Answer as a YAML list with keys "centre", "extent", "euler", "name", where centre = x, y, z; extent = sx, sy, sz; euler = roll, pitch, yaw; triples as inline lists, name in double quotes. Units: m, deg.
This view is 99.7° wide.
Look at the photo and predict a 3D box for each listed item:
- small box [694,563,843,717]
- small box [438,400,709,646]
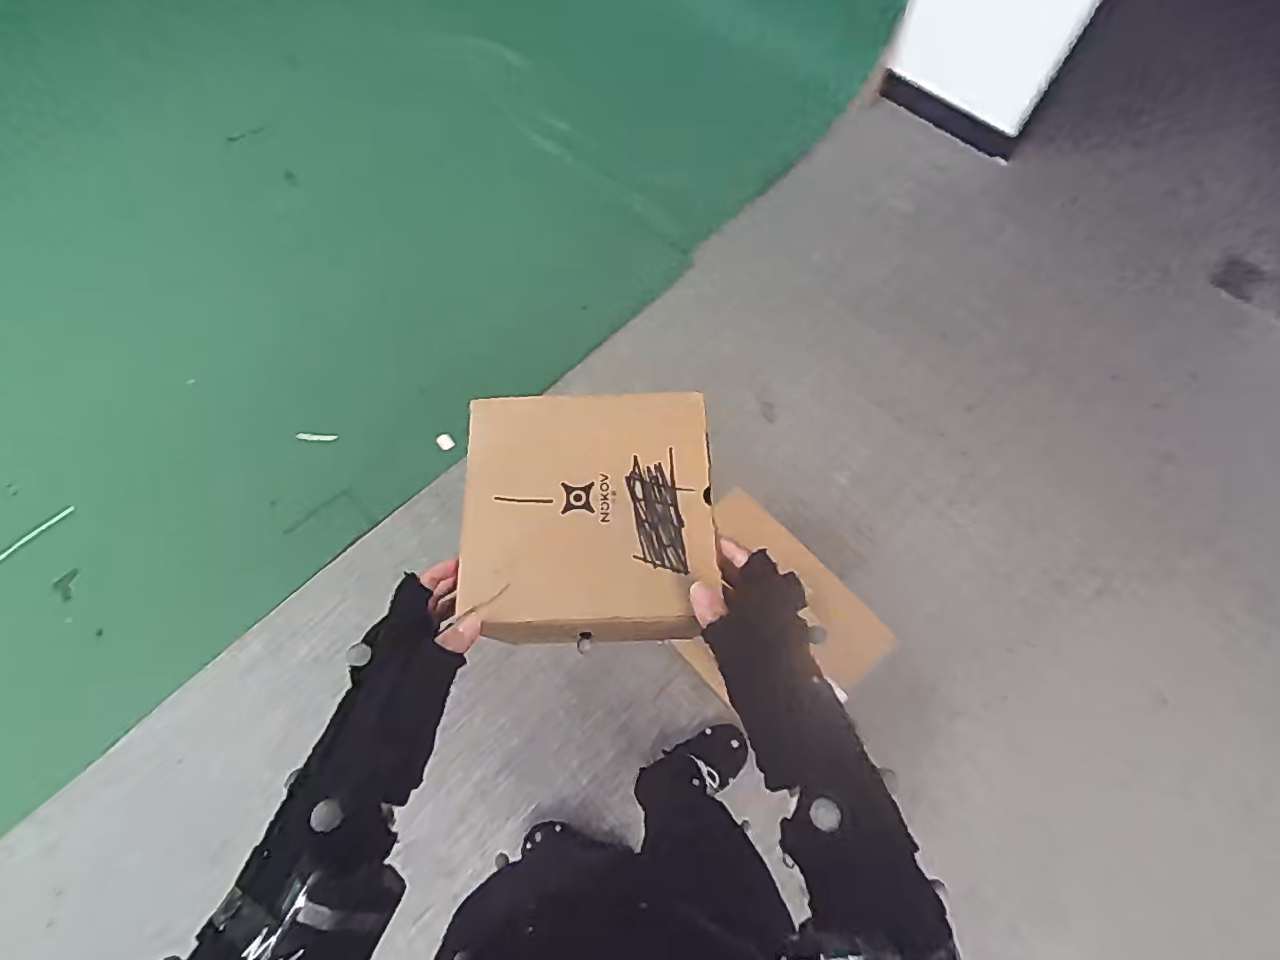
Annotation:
- centre: [0.200, 0.267, 0.909]
  extent: [0.168, 0.176, 0.179]
  euler: [-36, 74, -6]
  name: "small box"
- centre: [-0.048, 0.046, 0.446]
  extent: [0.179, 0.176, 0.168]
  euler: [-3, 71, -2]
  name: "small box"
